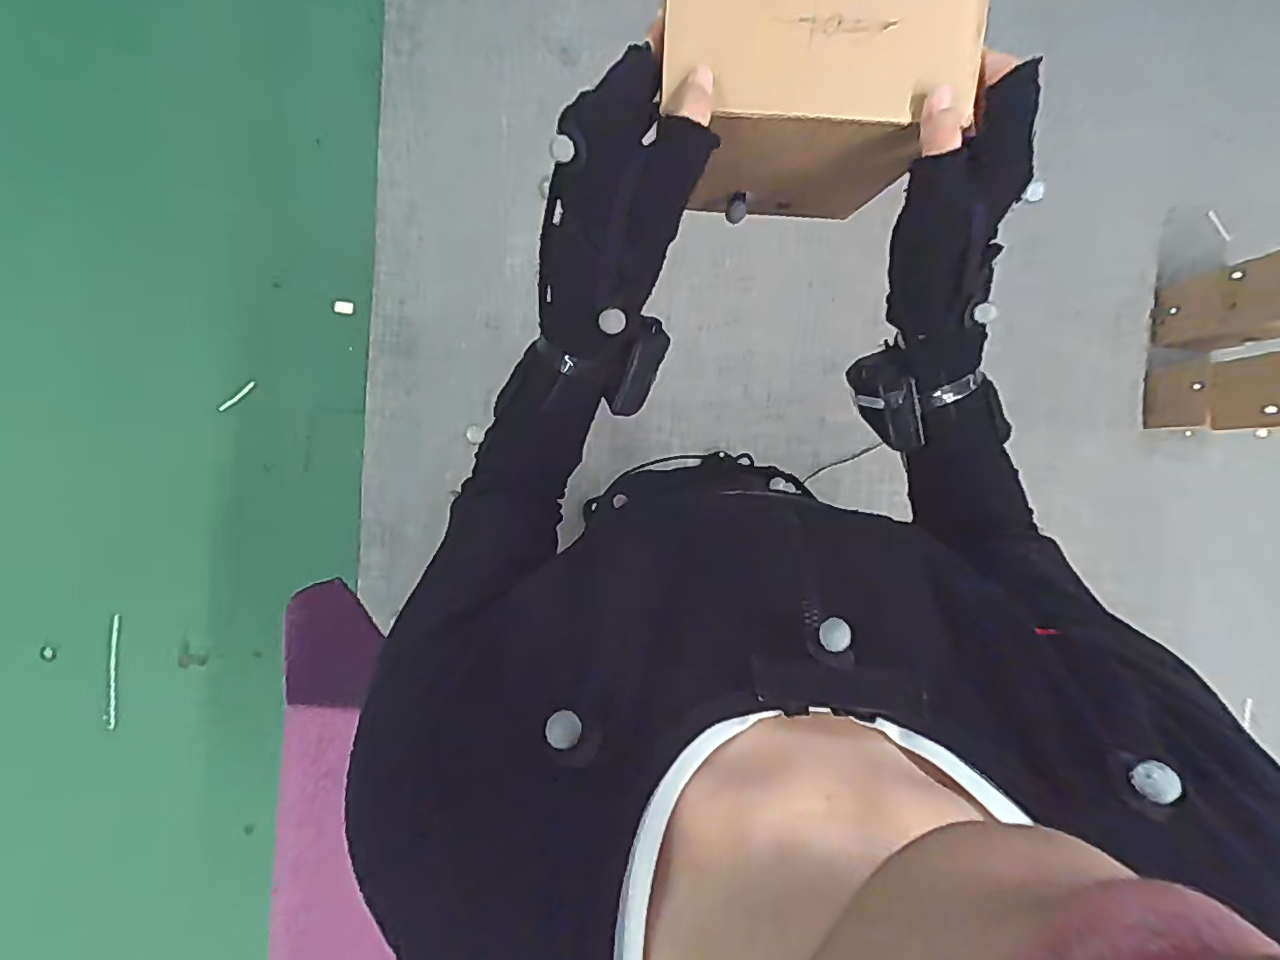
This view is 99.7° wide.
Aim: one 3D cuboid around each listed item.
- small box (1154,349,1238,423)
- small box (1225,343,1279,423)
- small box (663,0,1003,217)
[{"bbox_3d":[1.496,-0.237,1.394,0.179,0.176,0.168,1,92,-1],"label":"small box"},{"bbox_3d":[1.502,-0.224,1.231,0.168,0.176,0.179,1,93,0],"label":"small box"},{"bbox_3d":[0.103,-0.289,0.345,0.168,0.176,0.179,2,101,0],"label":"small box"}]
